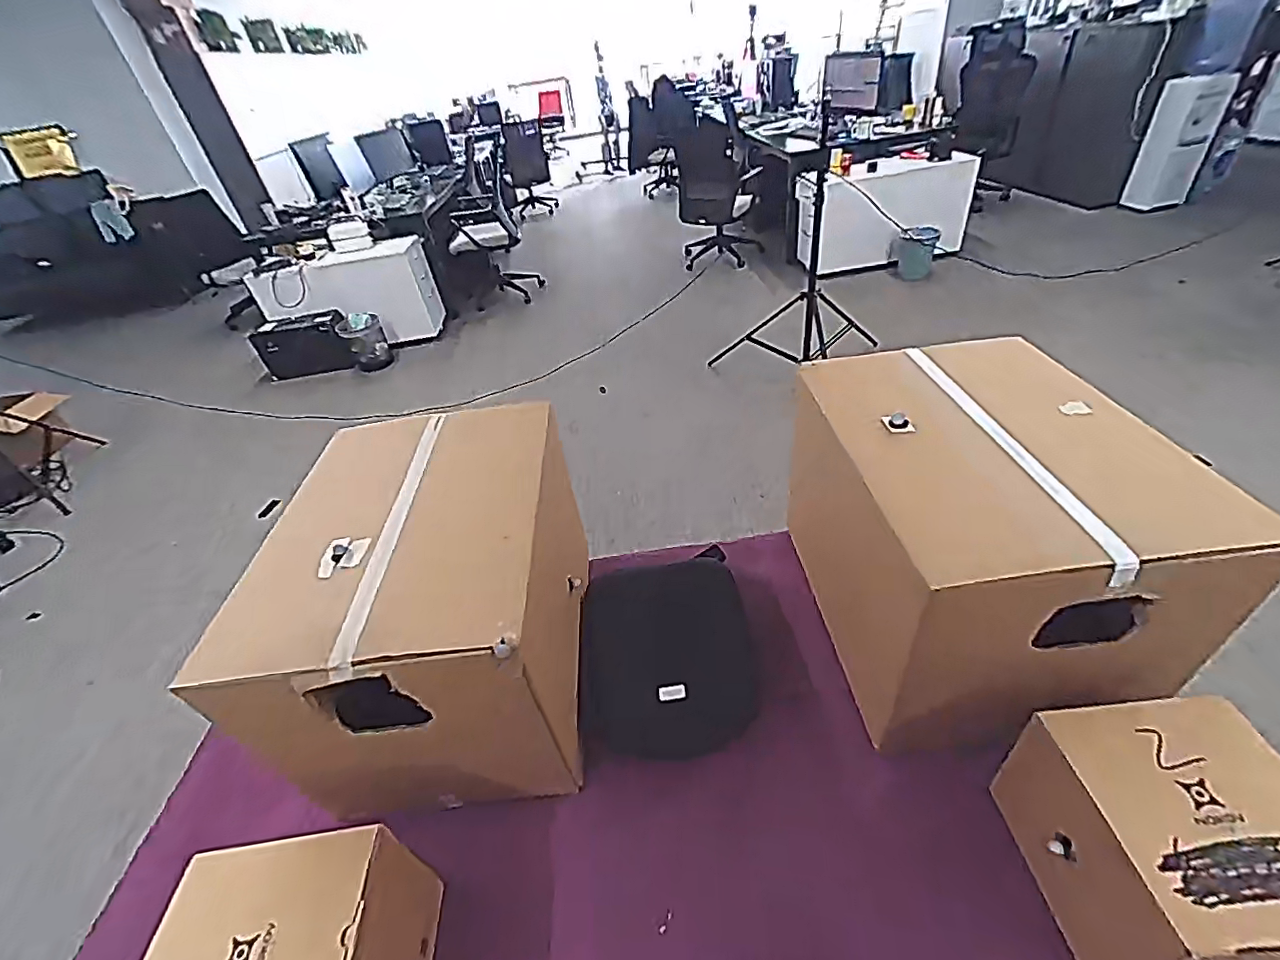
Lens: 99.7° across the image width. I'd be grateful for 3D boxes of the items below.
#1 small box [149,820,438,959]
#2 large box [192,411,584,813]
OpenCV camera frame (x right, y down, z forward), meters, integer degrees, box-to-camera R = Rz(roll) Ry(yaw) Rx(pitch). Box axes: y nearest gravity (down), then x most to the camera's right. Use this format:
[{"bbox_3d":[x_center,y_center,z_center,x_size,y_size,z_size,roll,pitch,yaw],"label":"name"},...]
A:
[{"bbox_3d":[-0.310,0.445,0.492,0.179,0.176,0.168,-9,37,-1],"label":"small box"},{"bbox_3d":[-0.251,0.160,0.724,0.320,0.320,0.408,-8,41,2],"label":"large box"}]
